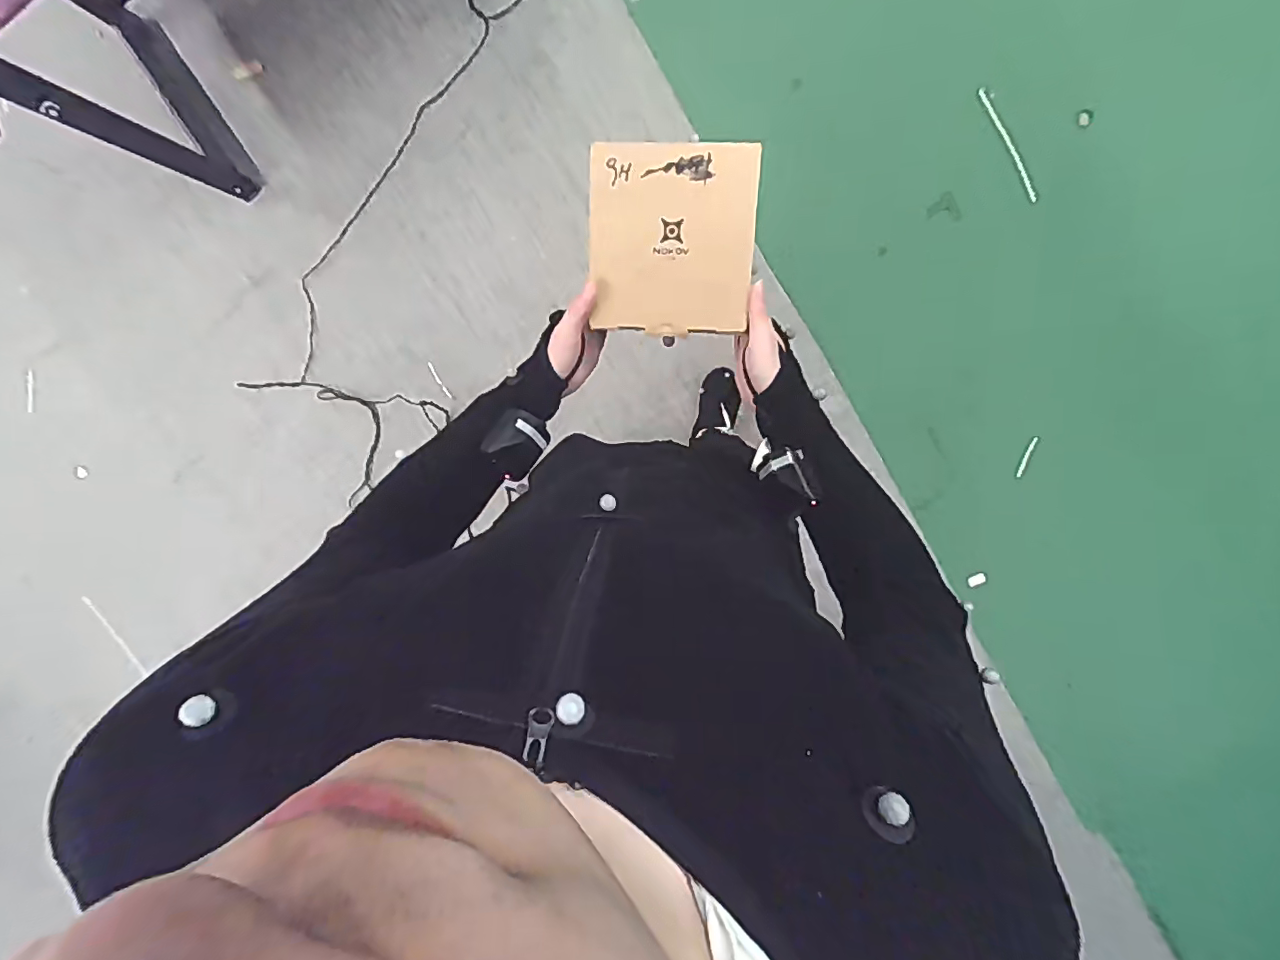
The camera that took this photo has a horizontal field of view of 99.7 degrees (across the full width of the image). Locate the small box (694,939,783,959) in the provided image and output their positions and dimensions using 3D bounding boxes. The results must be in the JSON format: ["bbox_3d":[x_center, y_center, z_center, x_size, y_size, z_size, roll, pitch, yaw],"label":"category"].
[{"bbox_3d":[0.190,0.942,0.925,0.168,0.176,0.179,-31,93,10],"label":"small box"}]

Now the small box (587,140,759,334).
[{"bbox_3d":[0.037,-0.260,0.609,0.168,0.176,0.179,3,106,5],"label":"small box"}]
